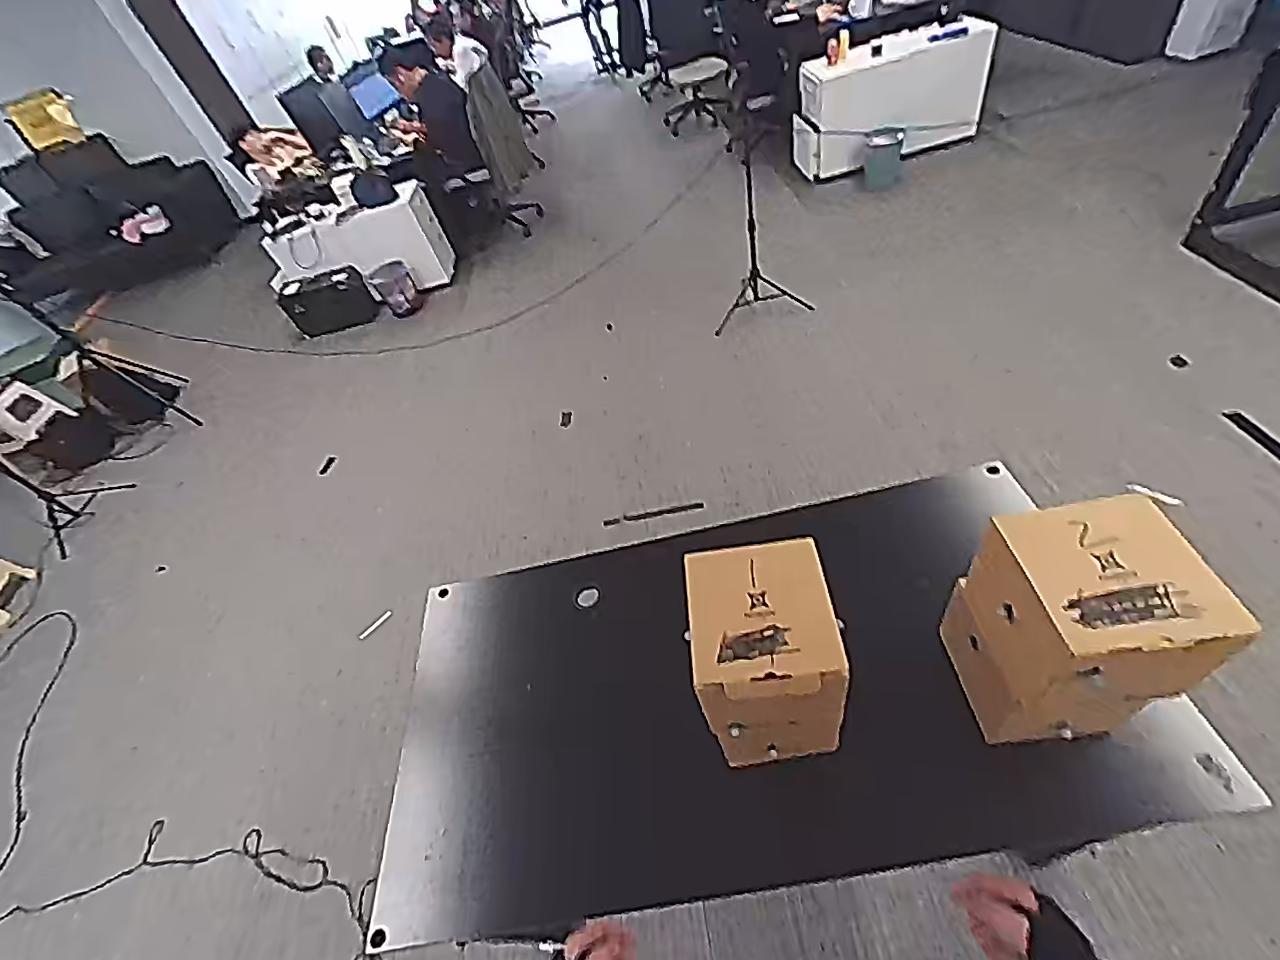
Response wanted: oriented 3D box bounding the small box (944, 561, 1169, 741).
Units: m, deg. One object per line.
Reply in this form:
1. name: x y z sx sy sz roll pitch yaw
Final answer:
1. small box: 0.547 0.238 0.747 0.168 0.176 0.179 -11 47 9

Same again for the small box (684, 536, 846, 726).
1. small box: 0.153 0.198 0.683 0.168 0.176 0.179 -9 48 9

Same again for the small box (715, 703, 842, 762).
1. small box: 0.187 0.297 0.809 0.168 0.176 0.179 -13 48 6
